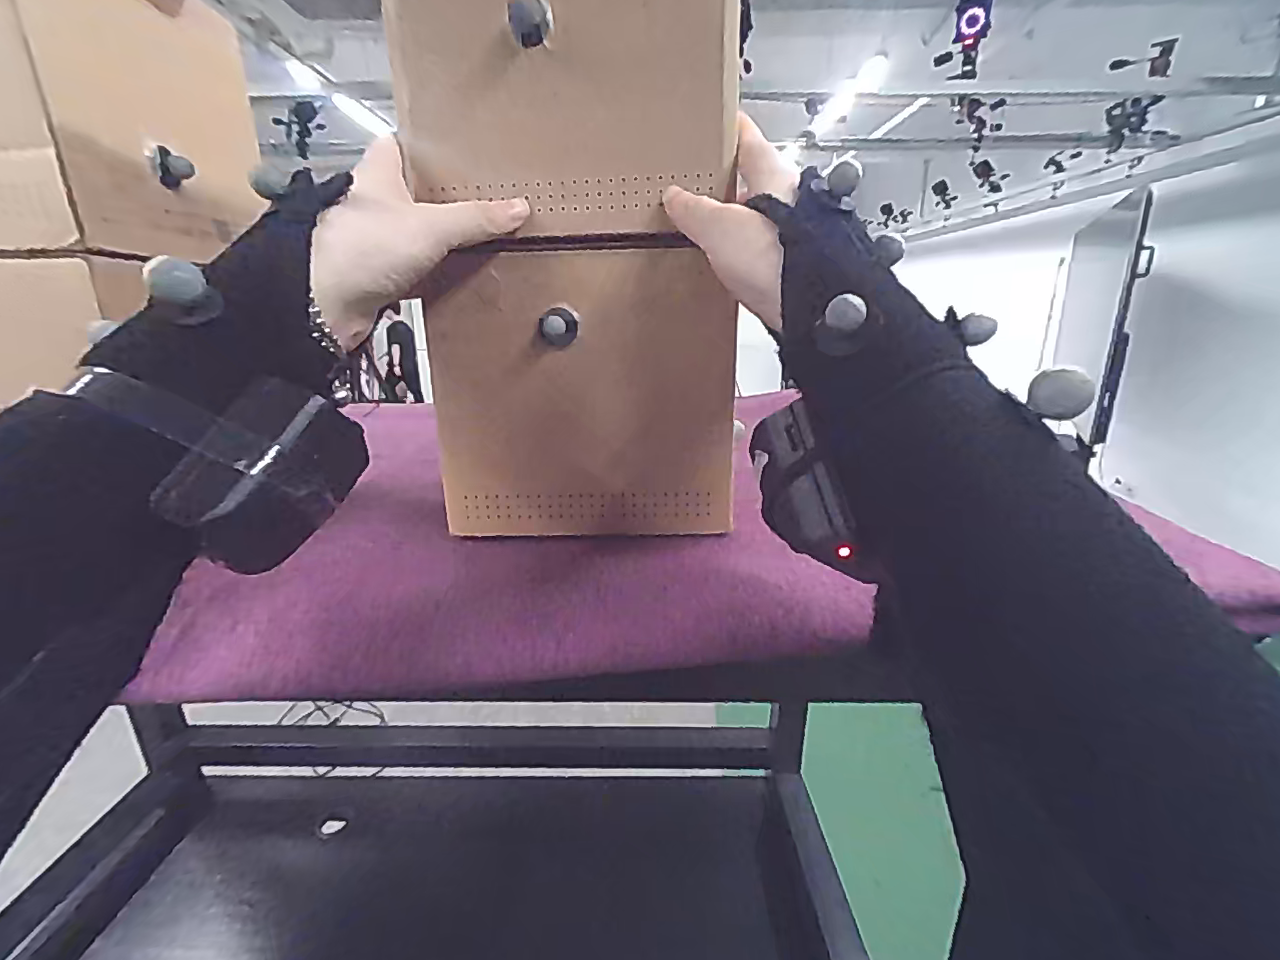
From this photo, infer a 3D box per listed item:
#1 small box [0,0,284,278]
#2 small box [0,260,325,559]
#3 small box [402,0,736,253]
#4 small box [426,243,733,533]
[{"bbox_3d":[-0.359,-0.209,0.325,0.179,0.176,0.168,-1,16,-3],"label":"small box"},{"bbox_3d":[-0.351,-0.052,0.370,0.179,0.176,0.168,-2,16,-1],"label":"small box"},{"bbox_3d":[-0.035,-0.225,0.349,0.179,0.176,0.168,-2,14,3],"label":"small box"},{"bbox_3d":[-0.029,-0.065,0.393,0.179,0.176,0.168,0,15,2],"label":"small box"}]
